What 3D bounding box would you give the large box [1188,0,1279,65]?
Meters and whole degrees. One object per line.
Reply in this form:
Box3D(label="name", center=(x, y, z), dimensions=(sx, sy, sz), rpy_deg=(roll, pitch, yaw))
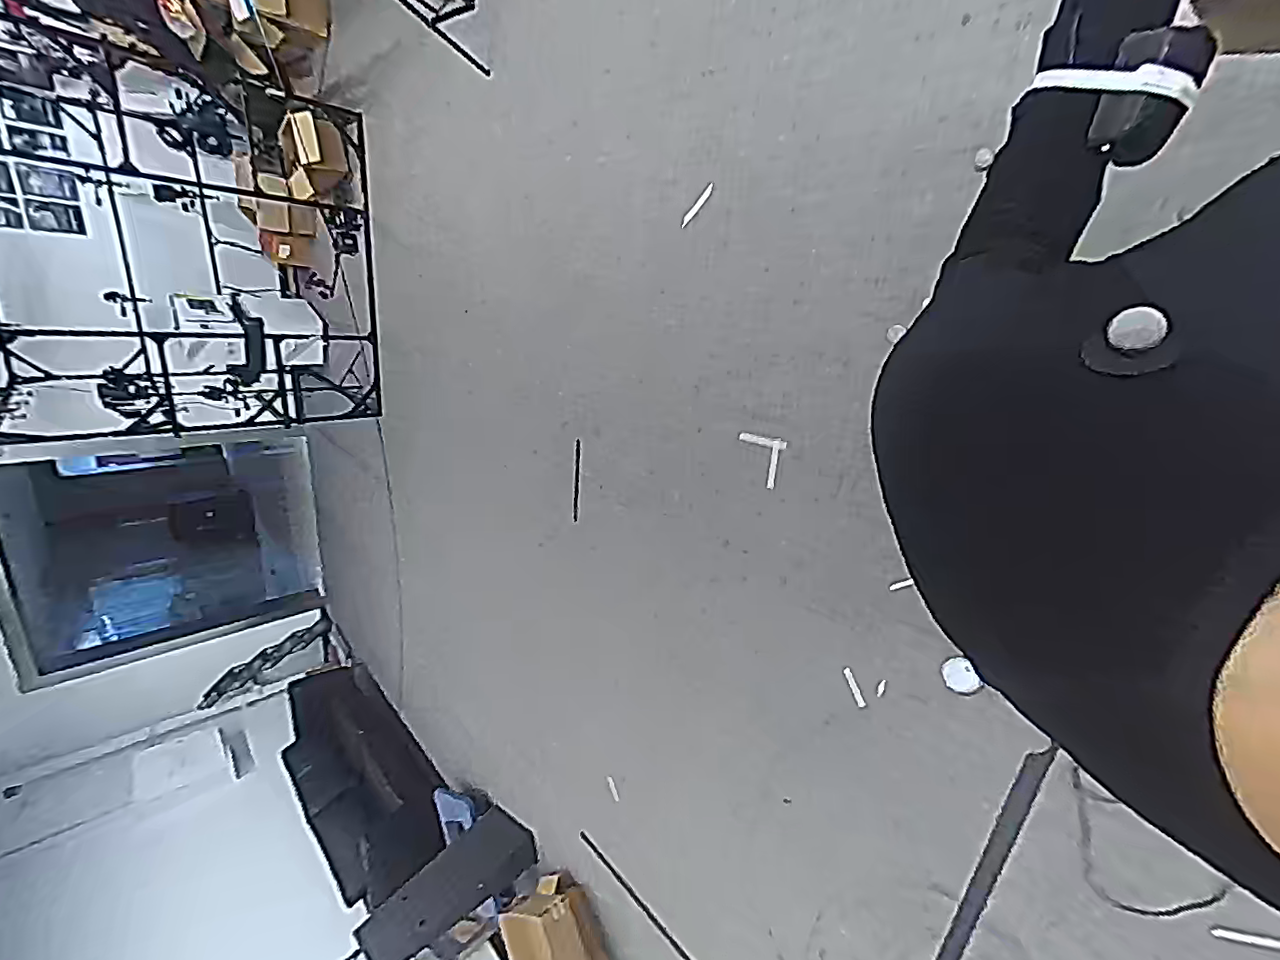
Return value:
Box3D(label="large box", center=(0.579, -0.406, 0.234), dimensions=(0.408, 0.320, 0.320), rpy_deg=(28, 131, 36))
